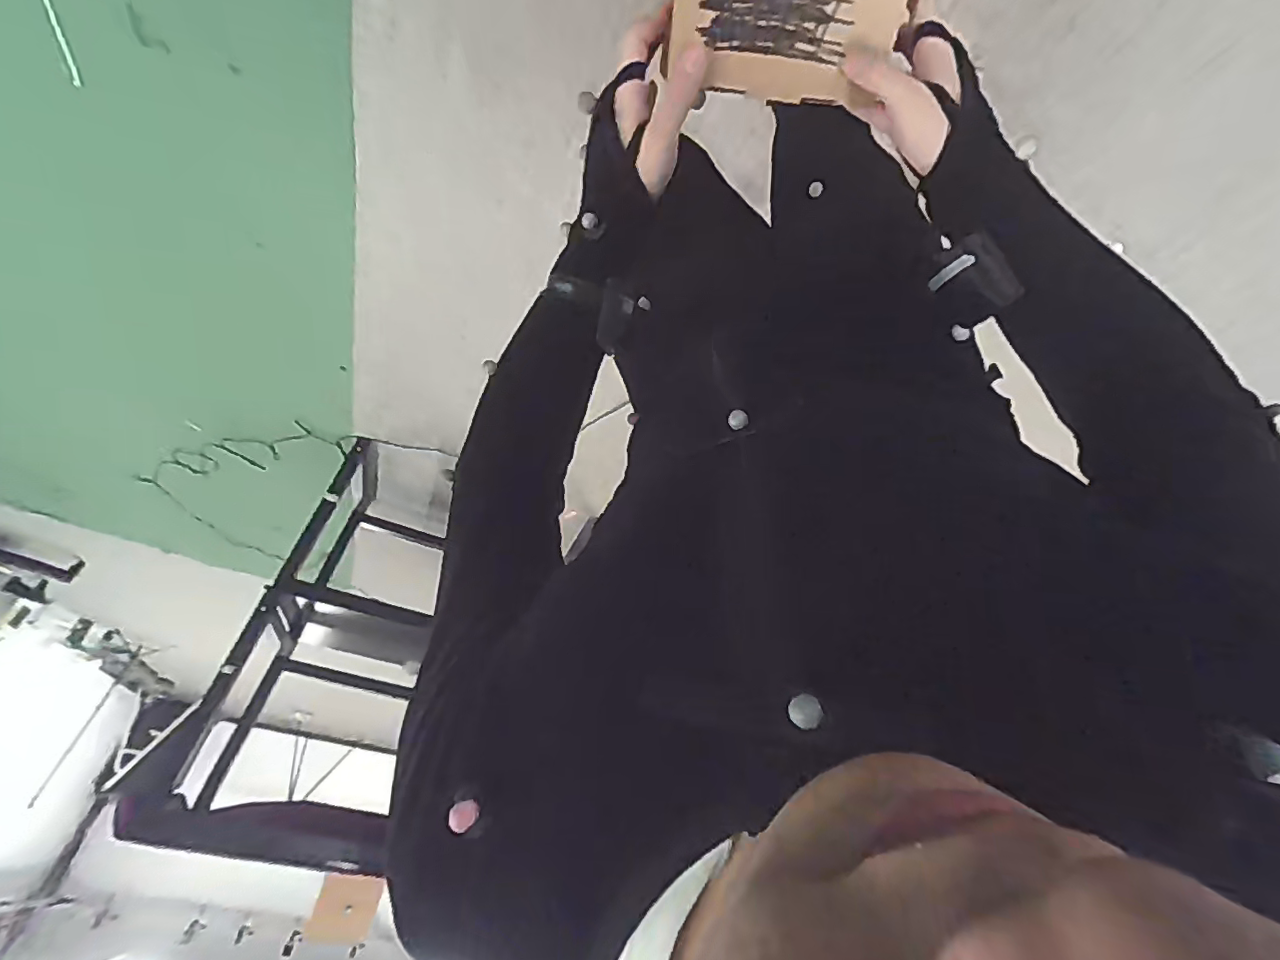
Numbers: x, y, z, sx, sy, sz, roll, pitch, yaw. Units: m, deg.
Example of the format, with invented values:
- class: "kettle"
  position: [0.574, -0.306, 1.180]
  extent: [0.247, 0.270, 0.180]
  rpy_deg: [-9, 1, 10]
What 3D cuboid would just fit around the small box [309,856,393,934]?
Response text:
- class: "small box"
  position: [-0.892, 1.277, 1.672]
  extent: [0.179, 0.176, 0.168]
  rpy_deg: [22, 143, -18]
